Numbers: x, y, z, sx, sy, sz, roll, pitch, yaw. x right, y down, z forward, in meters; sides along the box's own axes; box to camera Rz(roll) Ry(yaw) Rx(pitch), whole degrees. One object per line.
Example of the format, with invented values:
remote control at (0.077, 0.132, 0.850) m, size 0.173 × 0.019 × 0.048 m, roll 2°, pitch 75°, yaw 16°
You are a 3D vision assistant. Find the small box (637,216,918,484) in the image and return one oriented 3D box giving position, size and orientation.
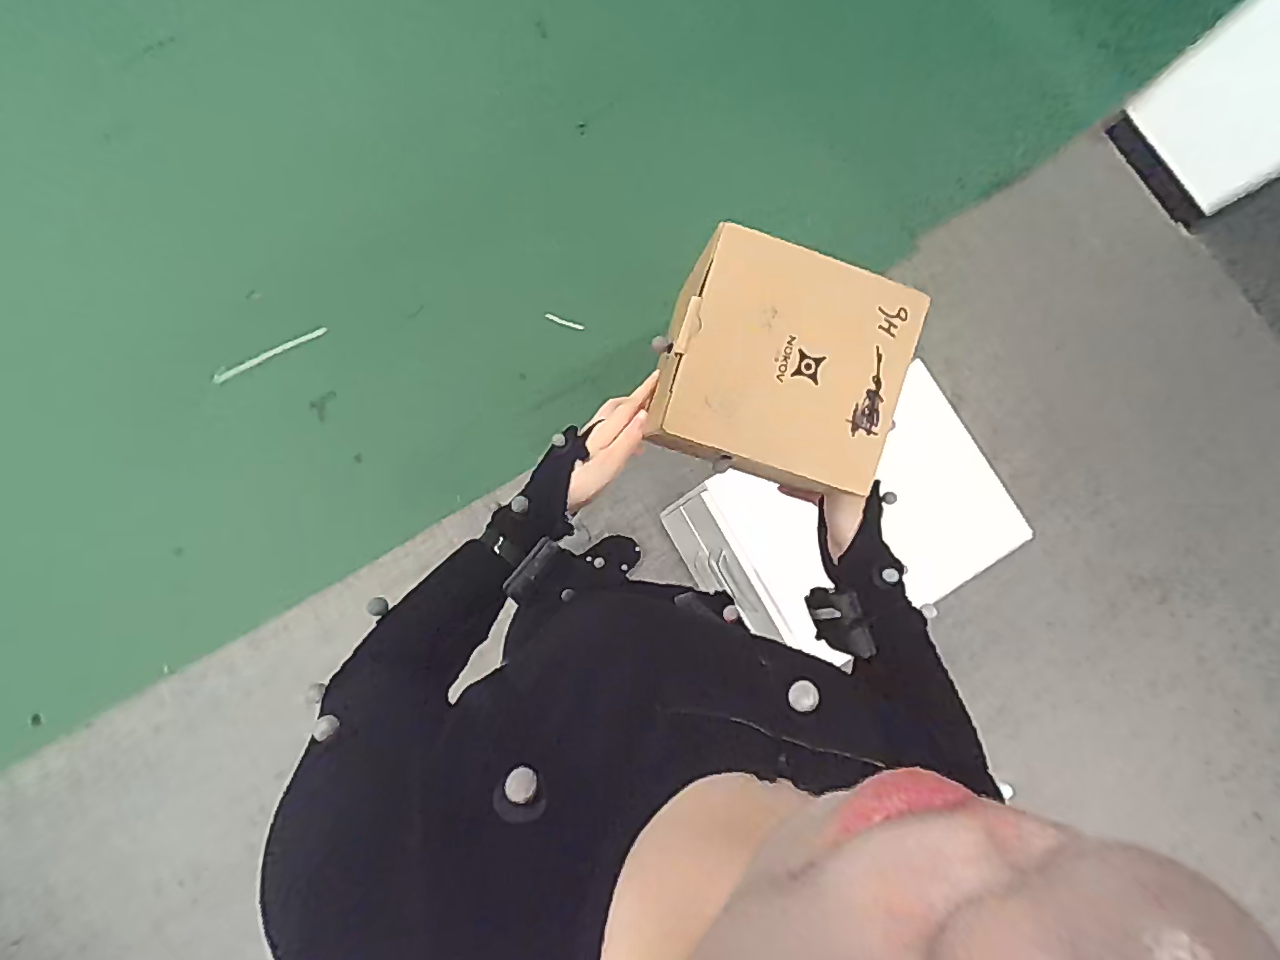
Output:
small box at (0.104, -0.098, 0.490) m, size 0.179 × 0.176 × 0.168 m, roll 17°, pitch 90°, yaw -6°
